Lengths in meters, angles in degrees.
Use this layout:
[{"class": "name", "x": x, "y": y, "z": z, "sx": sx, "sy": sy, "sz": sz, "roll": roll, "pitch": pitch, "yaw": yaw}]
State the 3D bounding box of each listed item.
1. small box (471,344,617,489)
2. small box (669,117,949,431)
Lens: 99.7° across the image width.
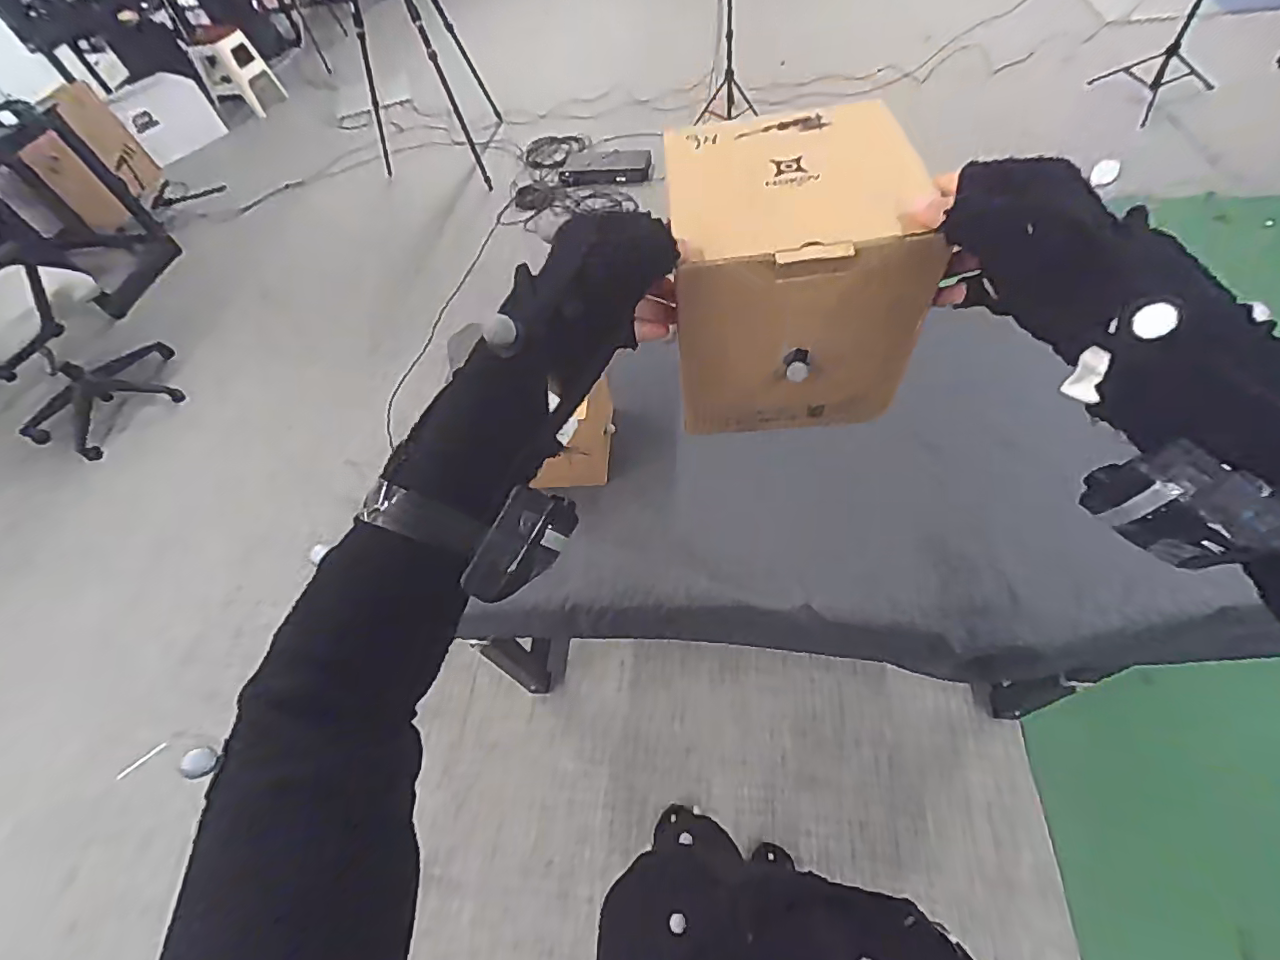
[{"class": "small box", "x": -0.141, "y": -0.096, "z": 0.867, "sx": 0.179, "sy": 0.176, "sz": 0.168, "roll": -1, "pitch": 56, "yaw": 7}, {"class": "small box", "x": 0.114, "y": -0.152, "z": 0.438, "sx": 0.168, "sy": 0.176, "sz": 0.179, "roll": -4, "pitch": 56, "yaw": 6}]
